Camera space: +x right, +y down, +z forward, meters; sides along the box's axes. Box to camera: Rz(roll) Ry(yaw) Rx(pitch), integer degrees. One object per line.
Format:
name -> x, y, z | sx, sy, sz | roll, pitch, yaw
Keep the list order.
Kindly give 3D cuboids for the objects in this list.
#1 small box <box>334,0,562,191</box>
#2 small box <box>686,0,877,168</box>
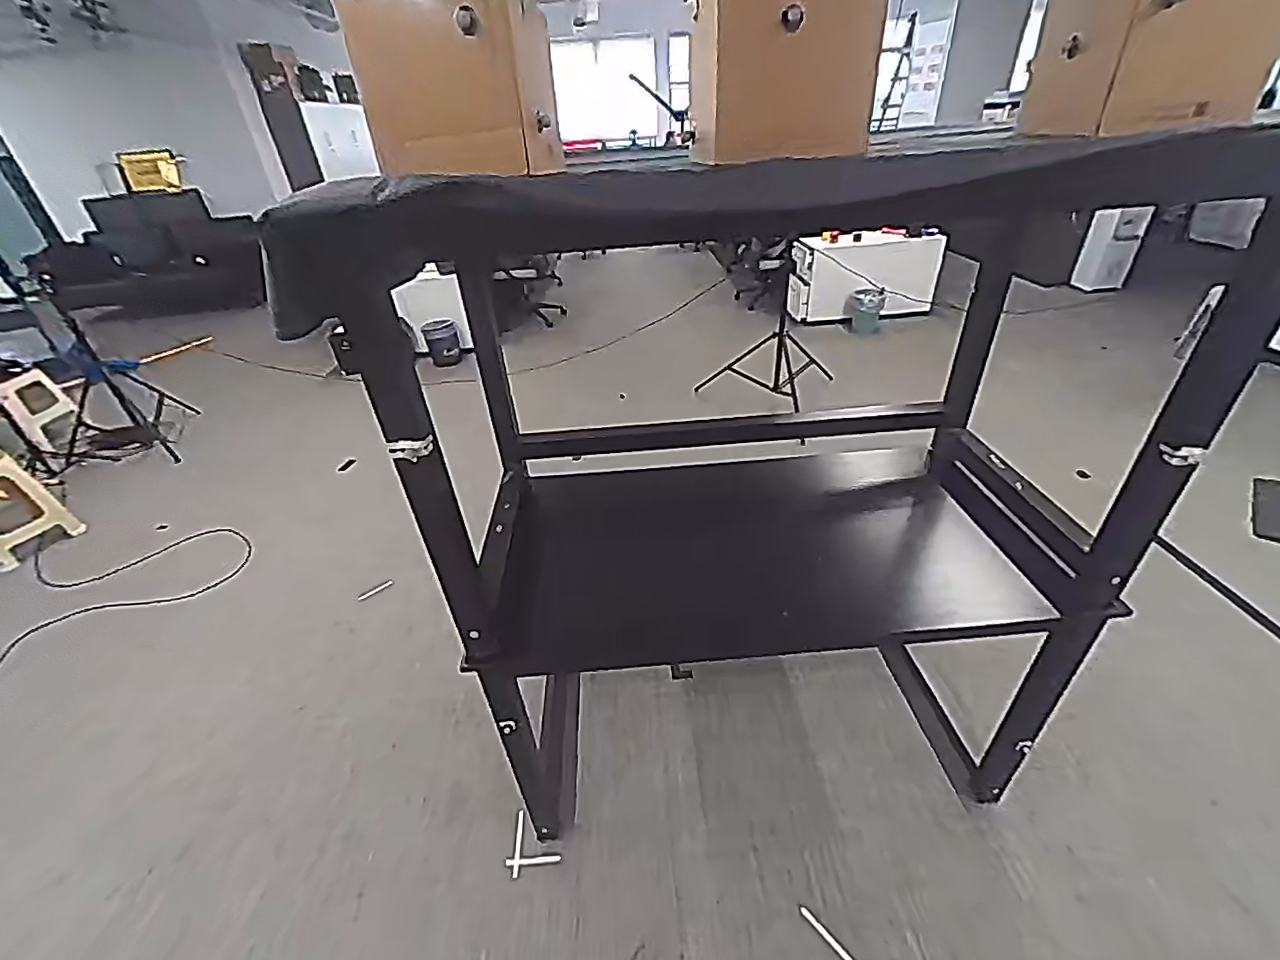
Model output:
small box -> -0.200, -0.433, 0.621 | 0.179, 0.176, 0.168 | 0, 31, 7
small box -> 0.154, -0.464, 0.626 | 0.179, 0.176, 0.168 | -6, 32, -3
